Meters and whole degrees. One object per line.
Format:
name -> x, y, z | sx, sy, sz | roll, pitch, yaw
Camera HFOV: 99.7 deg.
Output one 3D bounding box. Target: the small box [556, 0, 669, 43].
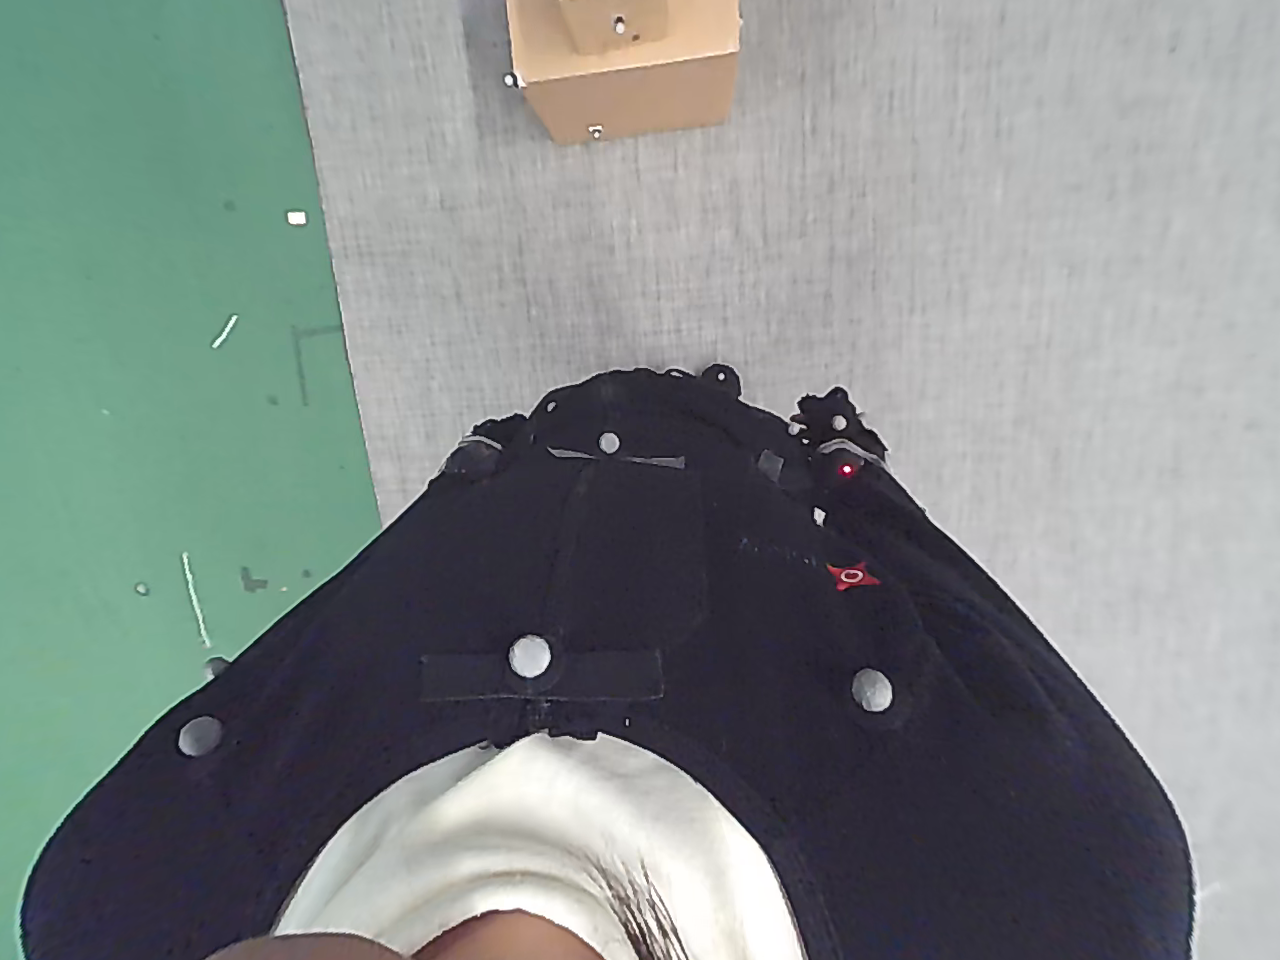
small box -> -0.049, -0.827, 0.846 | 0.168, 0.176, 0.179 | -6, 104, 8
